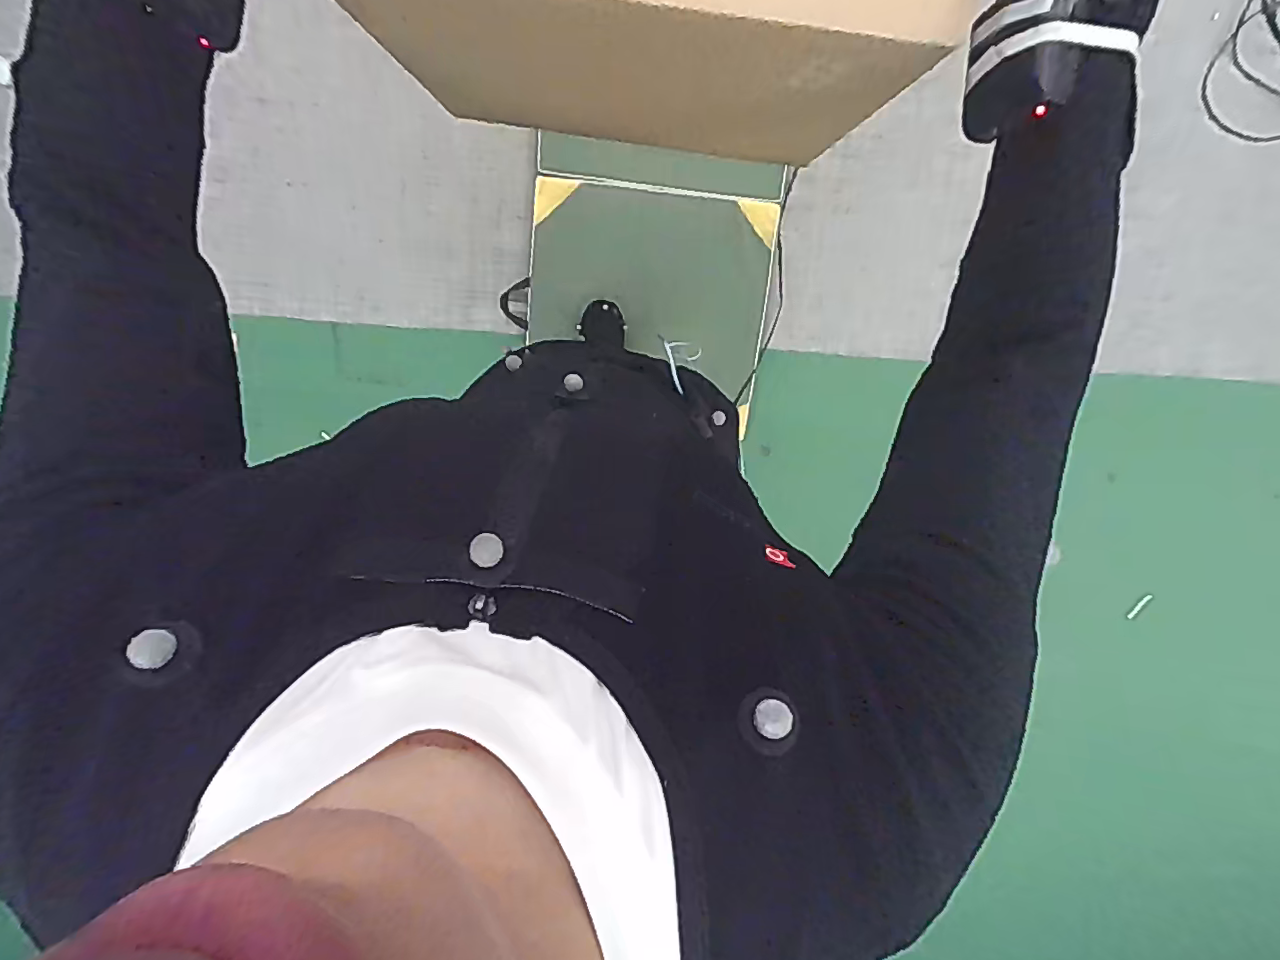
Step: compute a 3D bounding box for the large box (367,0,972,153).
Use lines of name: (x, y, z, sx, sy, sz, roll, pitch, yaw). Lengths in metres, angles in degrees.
large box: (0.015, -0.483, 0.418, 0.408, 0.320, 0.320, 6, 109, -4)
